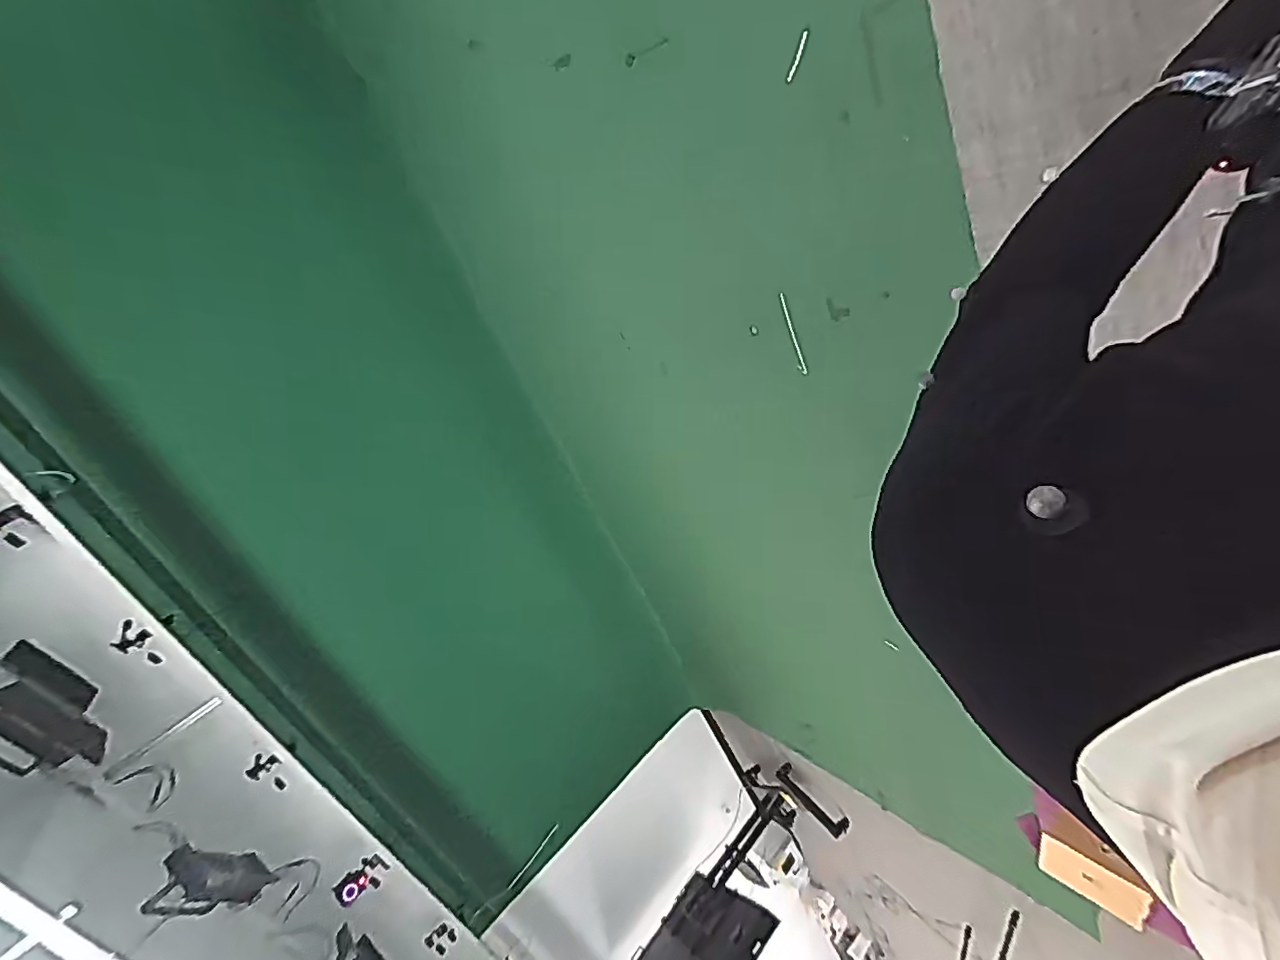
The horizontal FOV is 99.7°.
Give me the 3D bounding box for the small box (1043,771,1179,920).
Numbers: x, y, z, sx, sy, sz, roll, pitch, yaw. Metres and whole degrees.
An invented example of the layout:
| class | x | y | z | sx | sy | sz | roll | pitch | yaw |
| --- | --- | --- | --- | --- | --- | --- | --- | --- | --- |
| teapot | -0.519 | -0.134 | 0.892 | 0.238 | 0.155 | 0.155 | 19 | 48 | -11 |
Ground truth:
| class | x | y | z | sx | sy | sz | roll | pitch | yaw |
| --- | --- | --- | --- | --- | --- | --- | --- | --- | --- |
| small box | 0.991 | 0.757 | 1.145 | 0.179 | 0.176 | 0.168 | 17 | 138 | 48 |
